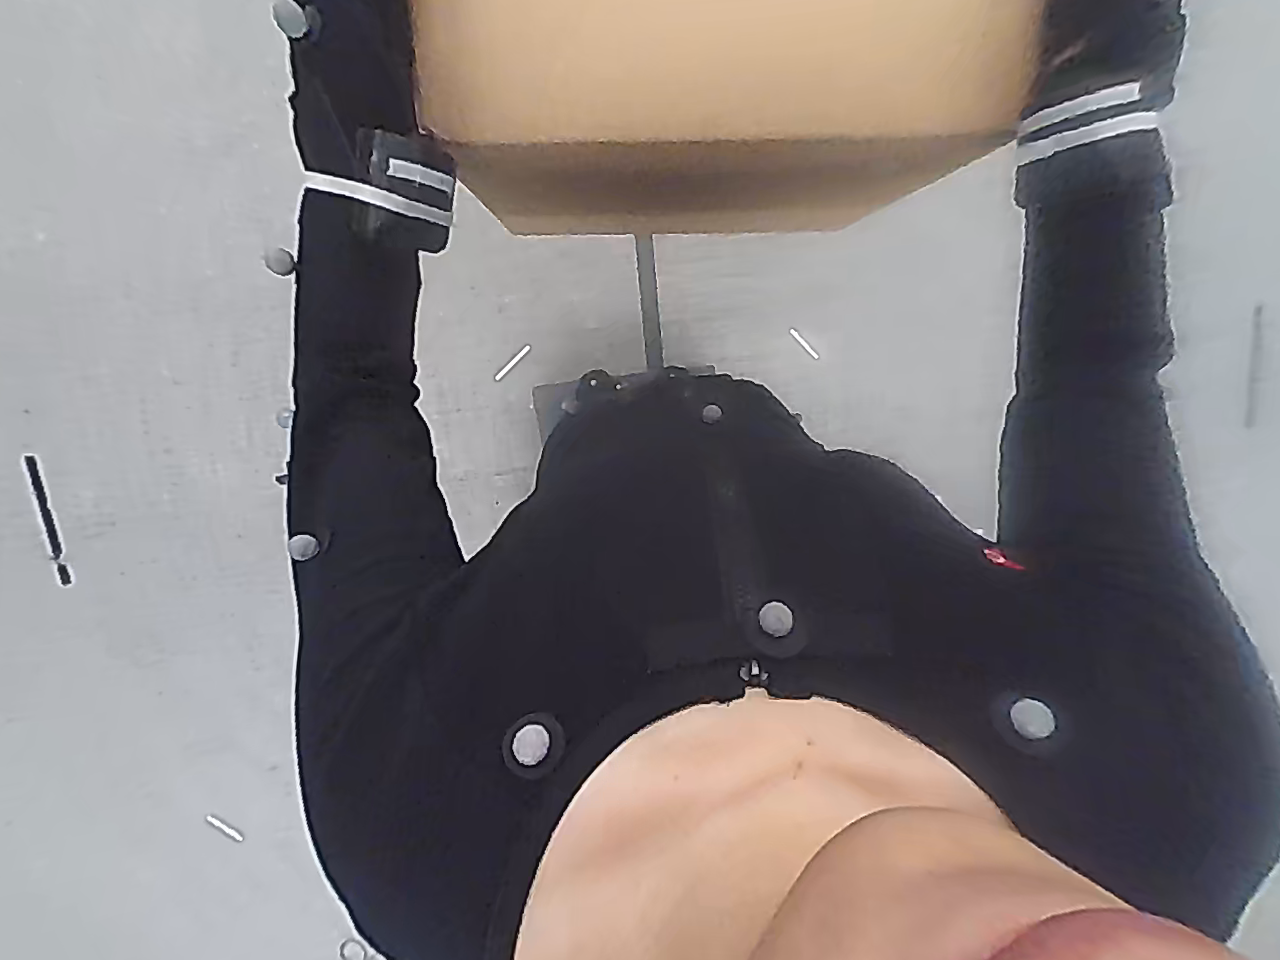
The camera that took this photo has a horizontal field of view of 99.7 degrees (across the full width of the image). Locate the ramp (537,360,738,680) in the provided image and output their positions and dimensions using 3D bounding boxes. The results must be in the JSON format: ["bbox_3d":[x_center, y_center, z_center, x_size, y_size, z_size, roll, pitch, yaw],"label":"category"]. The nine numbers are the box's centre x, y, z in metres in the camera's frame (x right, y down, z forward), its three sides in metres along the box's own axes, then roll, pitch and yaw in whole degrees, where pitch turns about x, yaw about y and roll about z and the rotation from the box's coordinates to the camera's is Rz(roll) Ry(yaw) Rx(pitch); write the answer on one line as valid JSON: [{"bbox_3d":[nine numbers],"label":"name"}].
[{"bbox_3d":[0.028,0.169,1.611,0.509,0.206,0.991,-9,101,-1],"label":"ramp"}]

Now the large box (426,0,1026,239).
[{"bbox_3d":[0.049,-0.416,0.482,0.408,0.320,0.320,-2,104,-2],"label":"large box"}]
